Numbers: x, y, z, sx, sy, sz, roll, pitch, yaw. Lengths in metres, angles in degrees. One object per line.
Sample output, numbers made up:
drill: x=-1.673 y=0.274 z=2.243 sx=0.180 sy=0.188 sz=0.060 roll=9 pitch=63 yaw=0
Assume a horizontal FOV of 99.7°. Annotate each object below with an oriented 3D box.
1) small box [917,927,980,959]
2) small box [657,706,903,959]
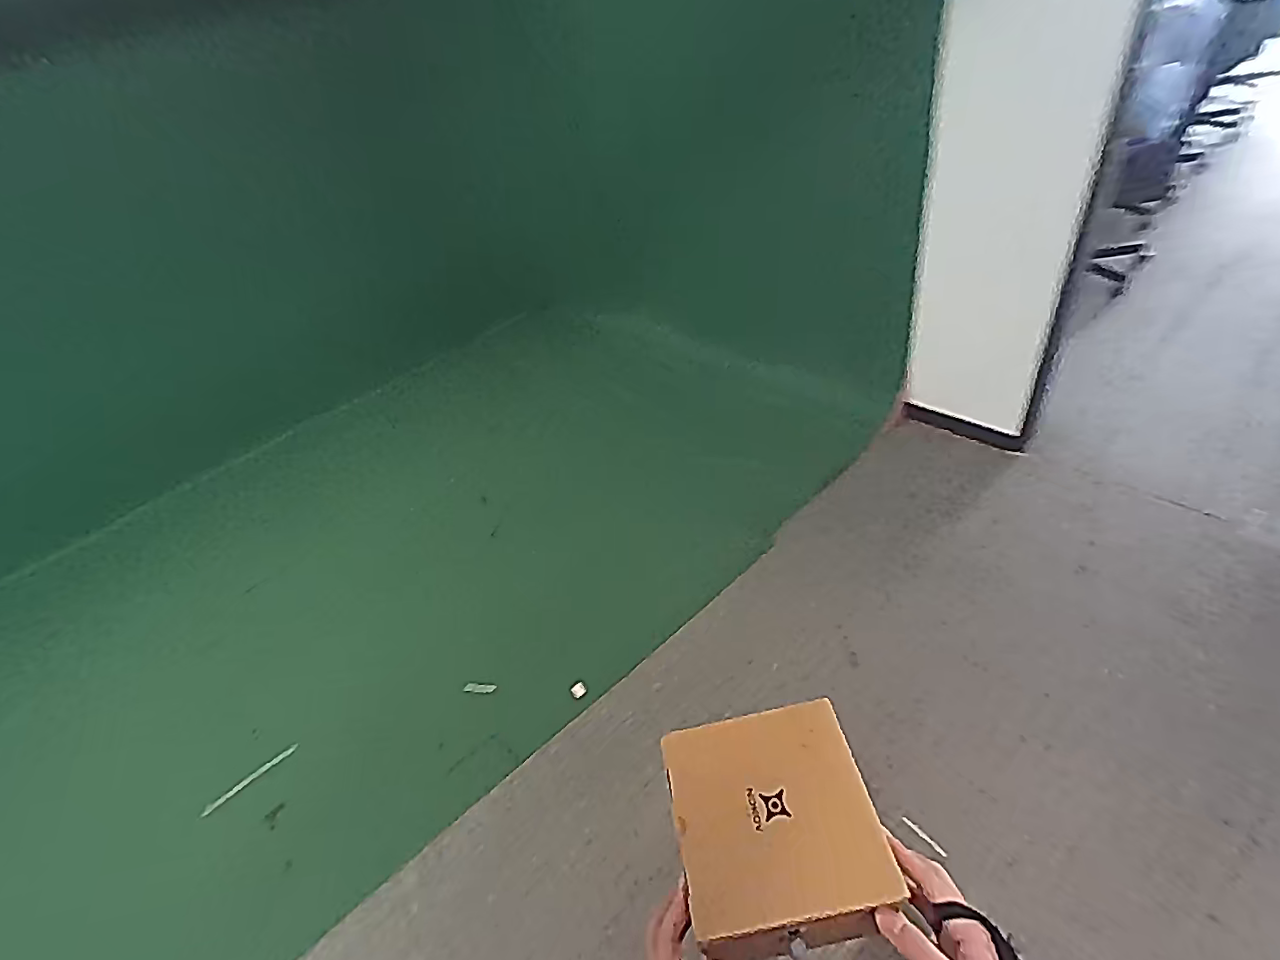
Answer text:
small box: x=0.609 y=1.028 z=1.049 sx=0.179 sy=0.176 sz=0.168 roll=-31 pitch=43 yaw=-14
small box: x=0.127 y=0.356 z=0.538 sx=0.179 sy=0.176 sz=0.168 roll=-15 pitch=42 yaw=1
